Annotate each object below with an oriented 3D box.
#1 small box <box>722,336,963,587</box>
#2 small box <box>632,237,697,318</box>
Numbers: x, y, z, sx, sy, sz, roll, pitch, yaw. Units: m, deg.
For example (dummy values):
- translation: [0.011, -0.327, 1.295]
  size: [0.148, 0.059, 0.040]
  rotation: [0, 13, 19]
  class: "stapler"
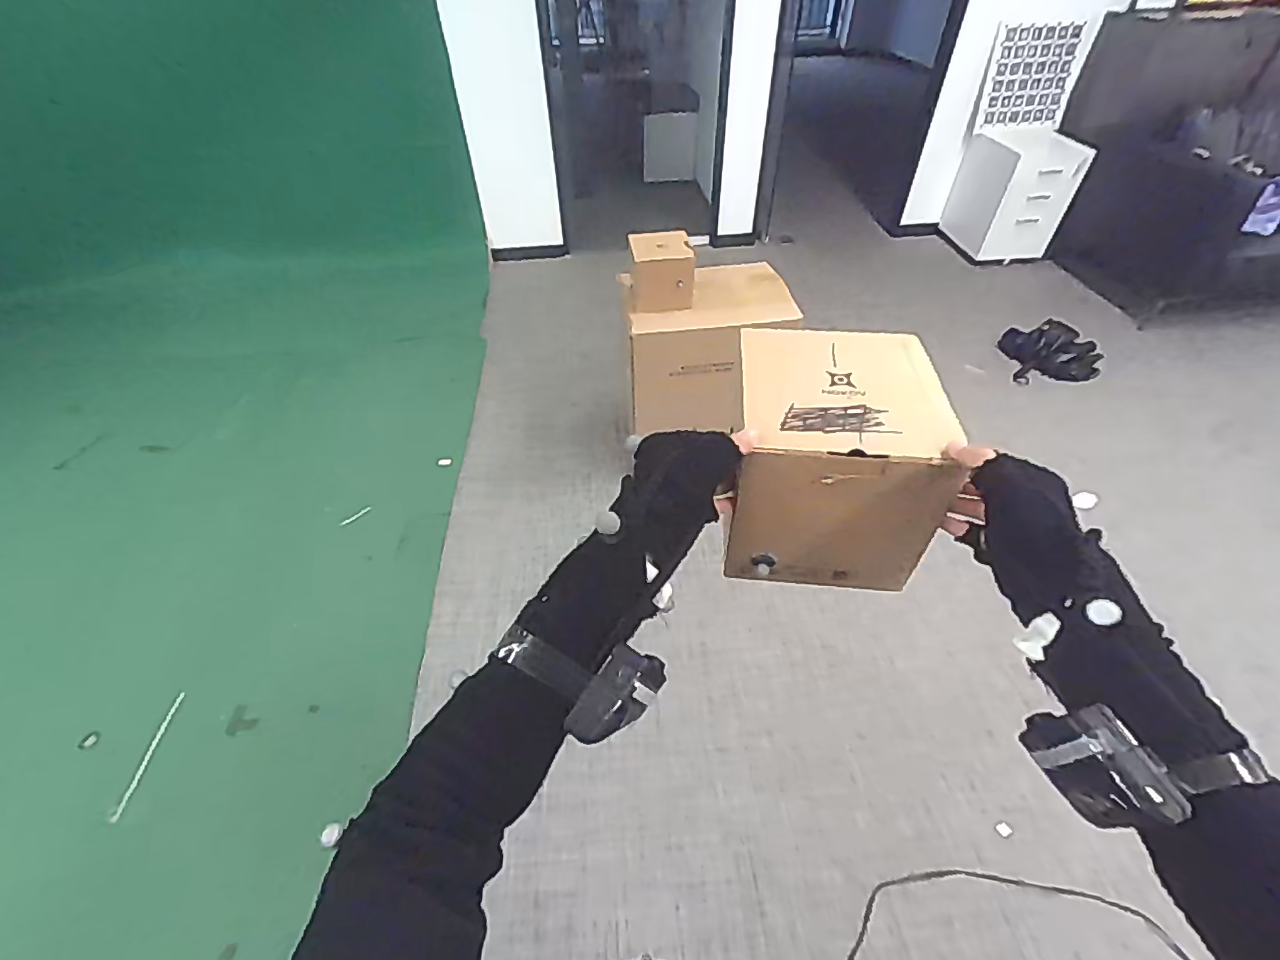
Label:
- translation: [0.168, -0.018, 0.514]
  size: [0.168, 0.176, 0.179]
  rotation: [4, 44, 6]
  class: "small box"
- translation: [0.072, -0.620, 1.659]
  size: [0.179, 0.176, 0.168]
  rotation: [-8, 49, -3]
  class: "small box"
